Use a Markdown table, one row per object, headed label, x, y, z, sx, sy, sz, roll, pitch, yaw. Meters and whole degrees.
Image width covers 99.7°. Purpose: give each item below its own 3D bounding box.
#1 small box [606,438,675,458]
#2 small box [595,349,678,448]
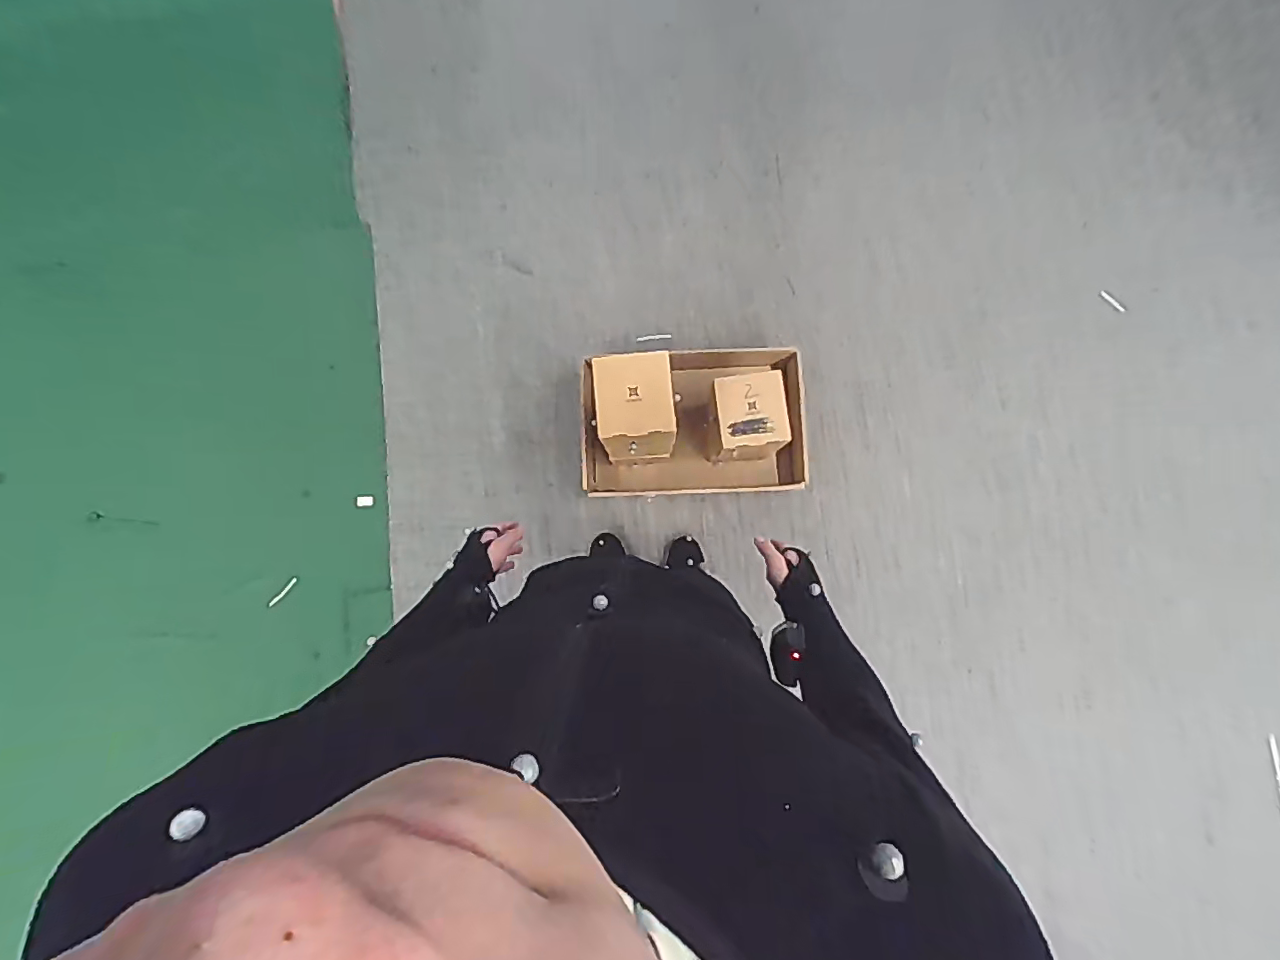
| label | x | y | z | sx | sy | sz | roll | pitch | yaw |
| --- | --- | --- | --- | --- | --- | --- | --- | --- | --- |
| small box | -0.002 | -0.160 | 1.368 | 0.168 | 0.176 | 0.179 | -4 | 84 | 2 |
| small box | -0.007 | -0.176 | 1.206 | 0.168 | 0.176 | 0.179 | -6 | 85 | 2 |
